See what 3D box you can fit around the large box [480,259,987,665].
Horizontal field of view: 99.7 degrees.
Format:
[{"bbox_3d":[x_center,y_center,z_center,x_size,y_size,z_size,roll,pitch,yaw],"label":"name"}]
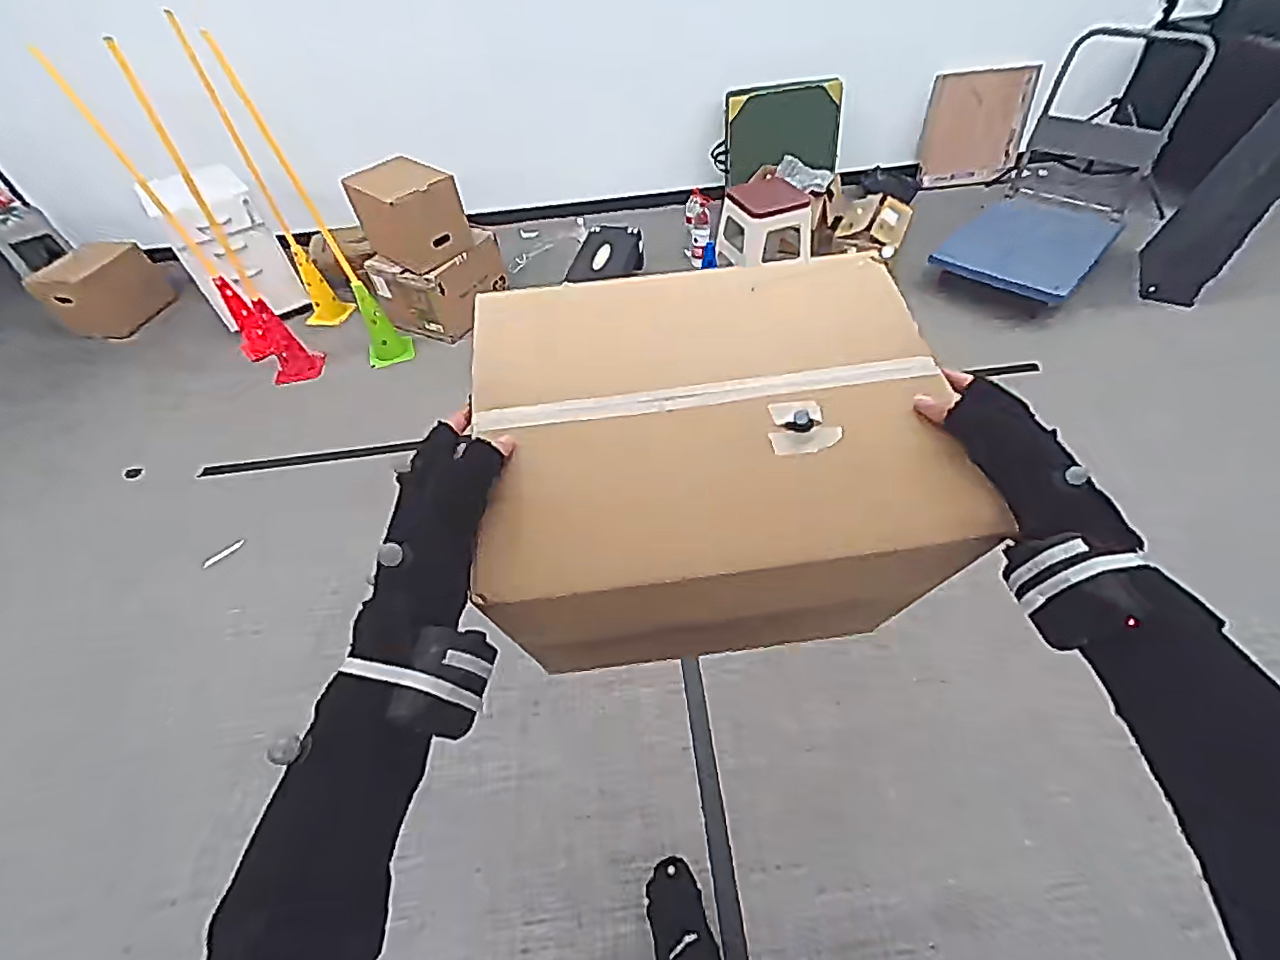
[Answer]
[{"bbox_3d":[0.058,-0.001,0.611,0.408,0.320,0.320,-7,62,-2],"label":"large box"}]
